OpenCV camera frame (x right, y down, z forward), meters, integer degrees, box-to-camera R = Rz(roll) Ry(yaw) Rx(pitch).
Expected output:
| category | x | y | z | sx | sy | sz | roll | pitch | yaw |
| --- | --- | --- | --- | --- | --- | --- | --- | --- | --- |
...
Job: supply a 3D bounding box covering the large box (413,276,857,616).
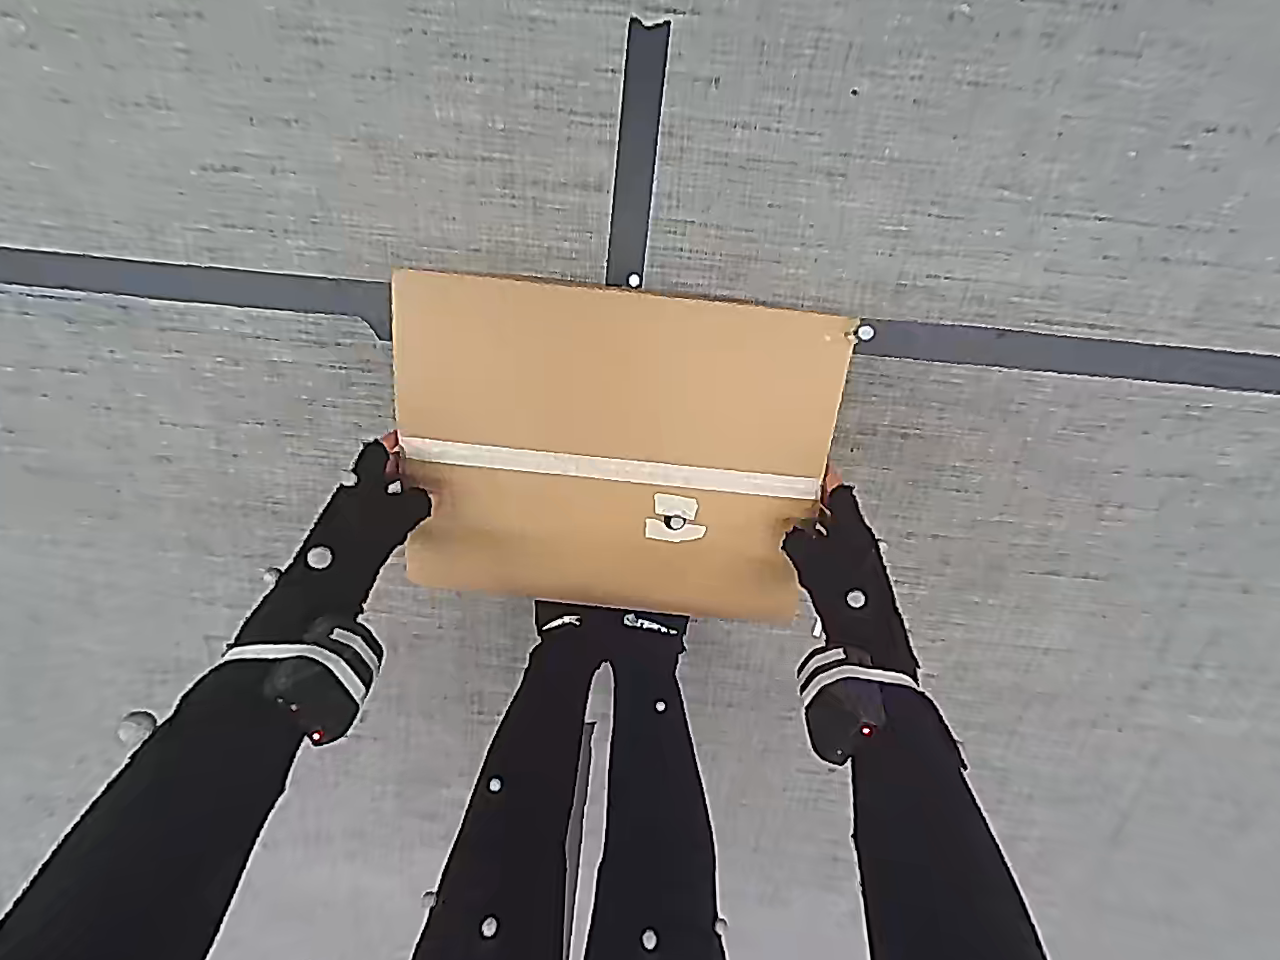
| category | x | y | z | sx | sy | sz | roll | pitch | yaw |
| --- | --- | --- | --- | --- | --- | --- | --- | --- | --- |
| large box | -0.016 | -0.063 | 0.664 | 0.408 | 0.320 | 0.320 | 6 | 109 | -1 |
